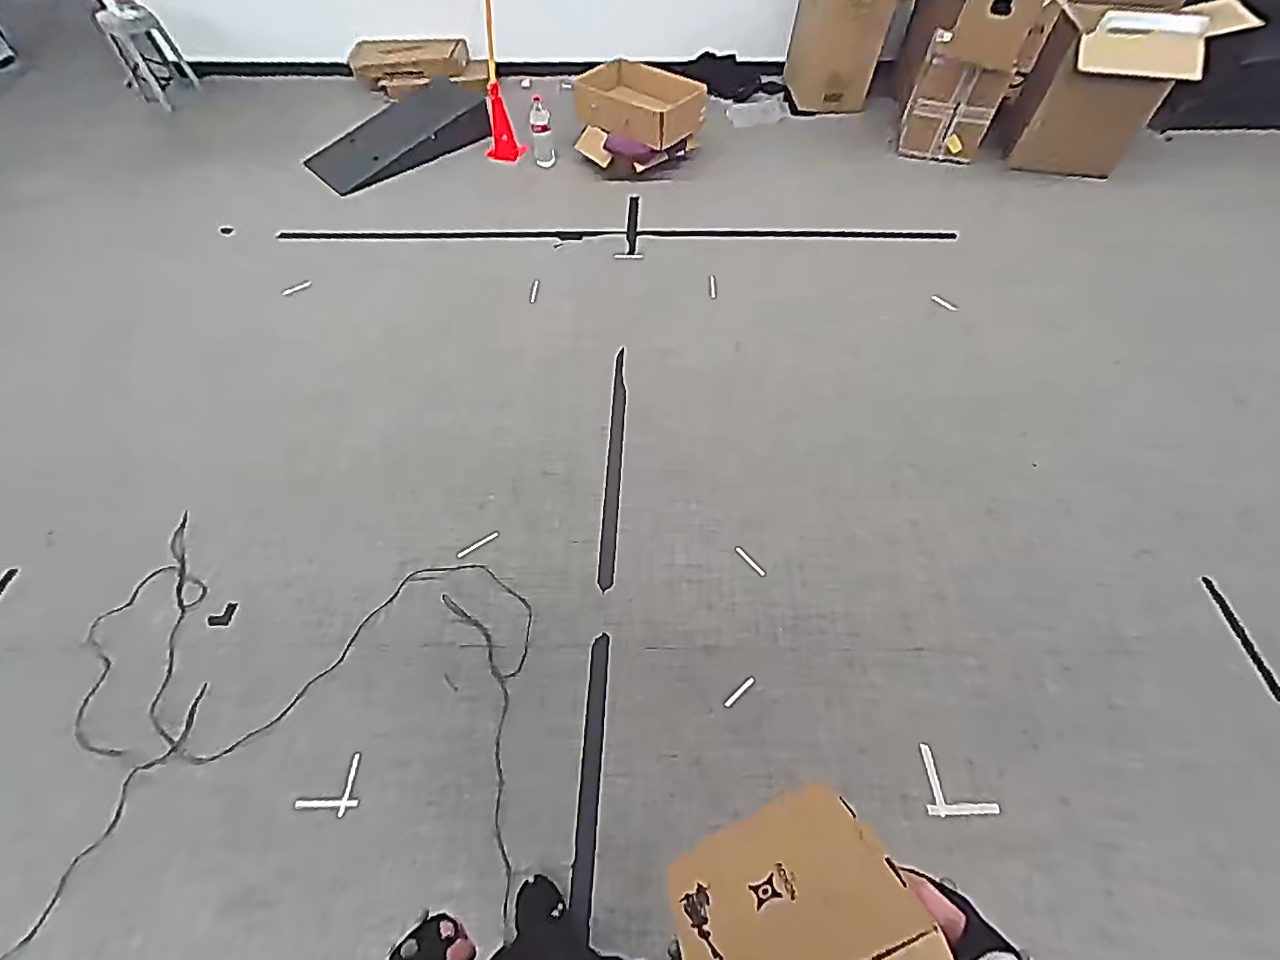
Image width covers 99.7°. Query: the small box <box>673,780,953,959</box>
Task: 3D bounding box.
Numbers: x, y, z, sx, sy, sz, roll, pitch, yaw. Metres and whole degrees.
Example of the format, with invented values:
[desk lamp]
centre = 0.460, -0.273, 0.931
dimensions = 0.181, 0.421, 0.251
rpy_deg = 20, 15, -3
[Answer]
[small box]
centre = 0.150, 0.406, 0.451
dimensions = 0.179, 0.168, 0.176
rpy_deg = -26, 95, -4
